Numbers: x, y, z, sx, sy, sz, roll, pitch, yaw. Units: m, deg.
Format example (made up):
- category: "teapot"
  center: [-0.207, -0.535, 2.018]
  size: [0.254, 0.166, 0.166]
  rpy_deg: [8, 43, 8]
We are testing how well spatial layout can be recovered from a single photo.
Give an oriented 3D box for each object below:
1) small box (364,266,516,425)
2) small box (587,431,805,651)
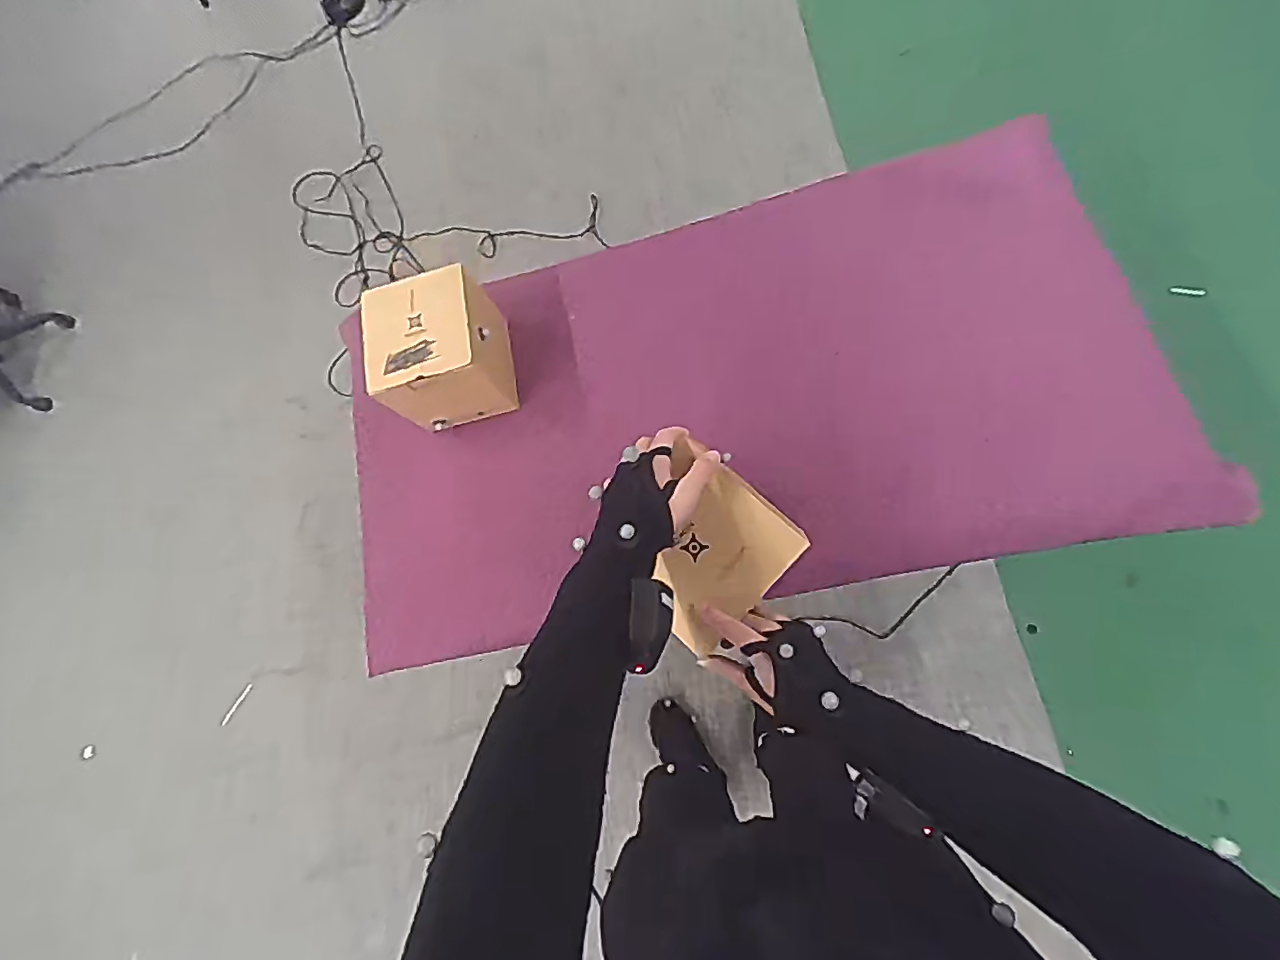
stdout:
- category: "small box"
  center: [-0.311, -0.201, 0.865]
  size: [0.168, 0.176, 0.179]
  rpy_deg: [-13, 73, 7]
- category: "small box"
  center: [0.074, 0.067, 0.643]
  size: [0.179, 0.176, 0.168]
  rpy_deg: [45, 101, 13]
